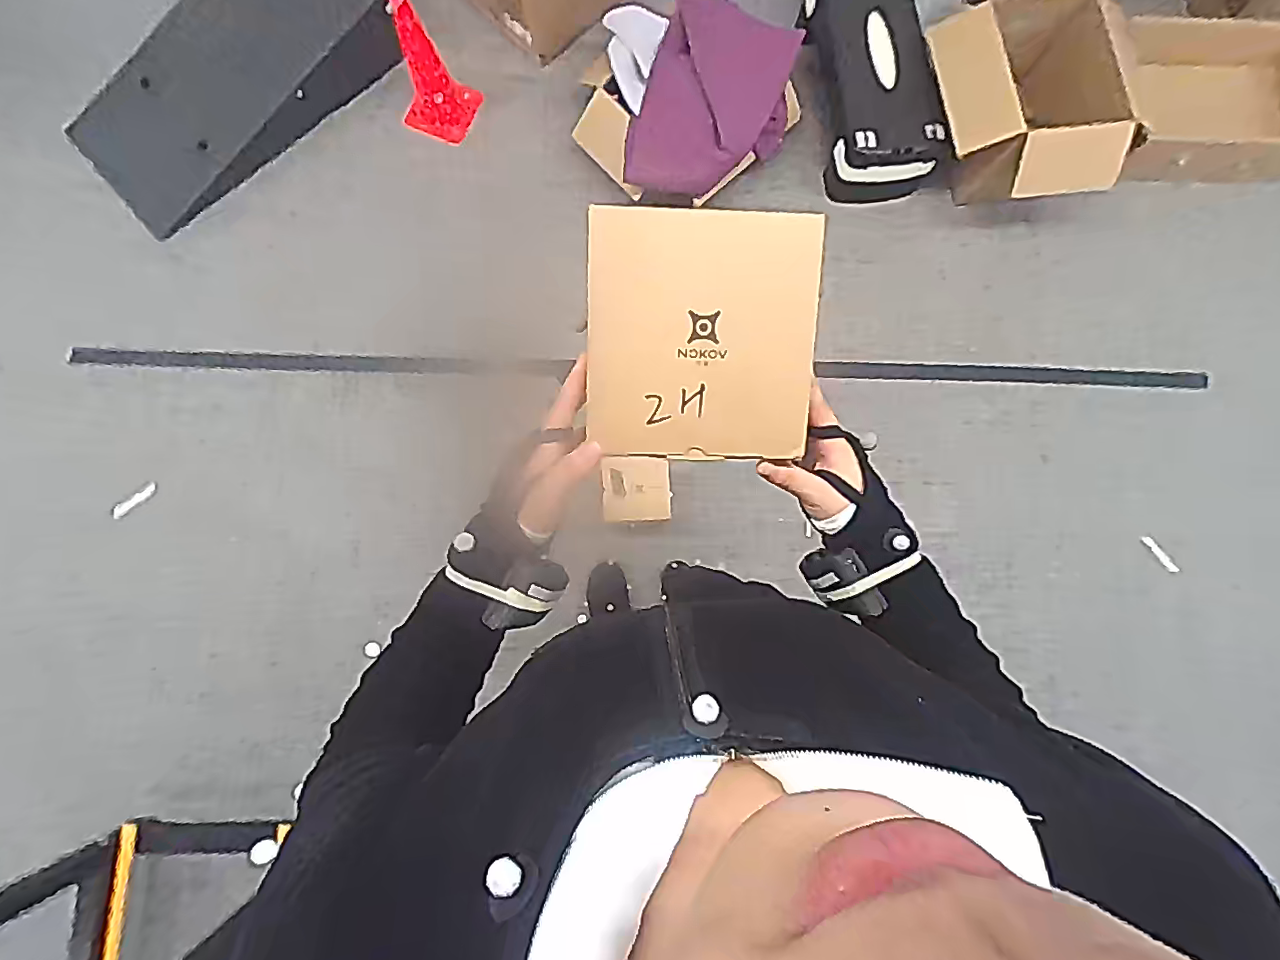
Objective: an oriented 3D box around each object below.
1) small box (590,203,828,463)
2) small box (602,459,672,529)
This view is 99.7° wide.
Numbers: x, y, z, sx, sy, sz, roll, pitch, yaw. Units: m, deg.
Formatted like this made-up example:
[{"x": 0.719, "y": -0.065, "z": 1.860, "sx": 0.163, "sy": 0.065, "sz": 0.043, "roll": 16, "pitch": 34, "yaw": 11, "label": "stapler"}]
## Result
[{"x": 0.044, "y": -0.114, "z": 0.461, "sx": 0.168, "sy": 0.176, "sz": 0.179, "roll": 1, "pitch": 101, "yaw": -2, "label": "small box"}, {"x": -0.009, "y": 0.042, "z": 1.445, "sx": 0.179, "sy": 0.176, "sz": 0.168, "roll": -2, "pitch": 82, "yaw": -2, "label": "small box"}]
